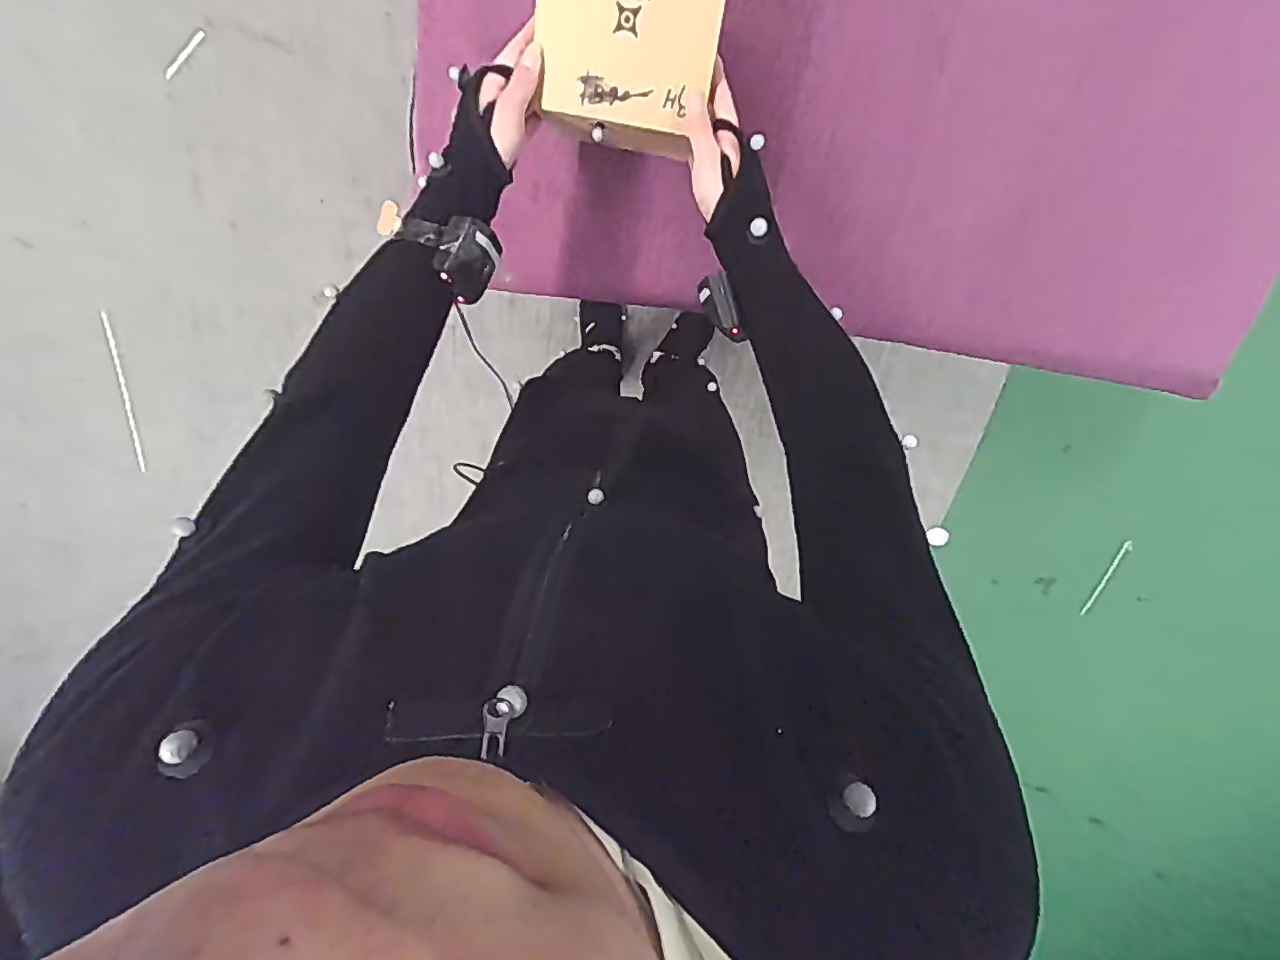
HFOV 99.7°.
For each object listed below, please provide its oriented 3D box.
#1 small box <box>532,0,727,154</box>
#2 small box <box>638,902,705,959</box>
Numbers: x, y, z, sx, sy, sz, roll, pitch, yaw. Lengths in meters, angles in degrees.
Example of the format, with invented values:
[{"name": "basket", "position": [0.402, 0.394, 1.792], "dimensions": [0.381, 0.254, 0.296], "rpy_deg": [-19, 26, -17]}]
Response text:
[{"name": "small box", "position": [-0.007, -0.453, 0.547], "dimensions": [0.168, 0.176, 0.179], "rpy_deg": [9, 115, -3]}, {"name": "small box", "position": [0.089, 1.389, 1.590], "dimensions": [0.168, 0.176, 0.179], "rpy_deg": [11, 114, -7]}]
